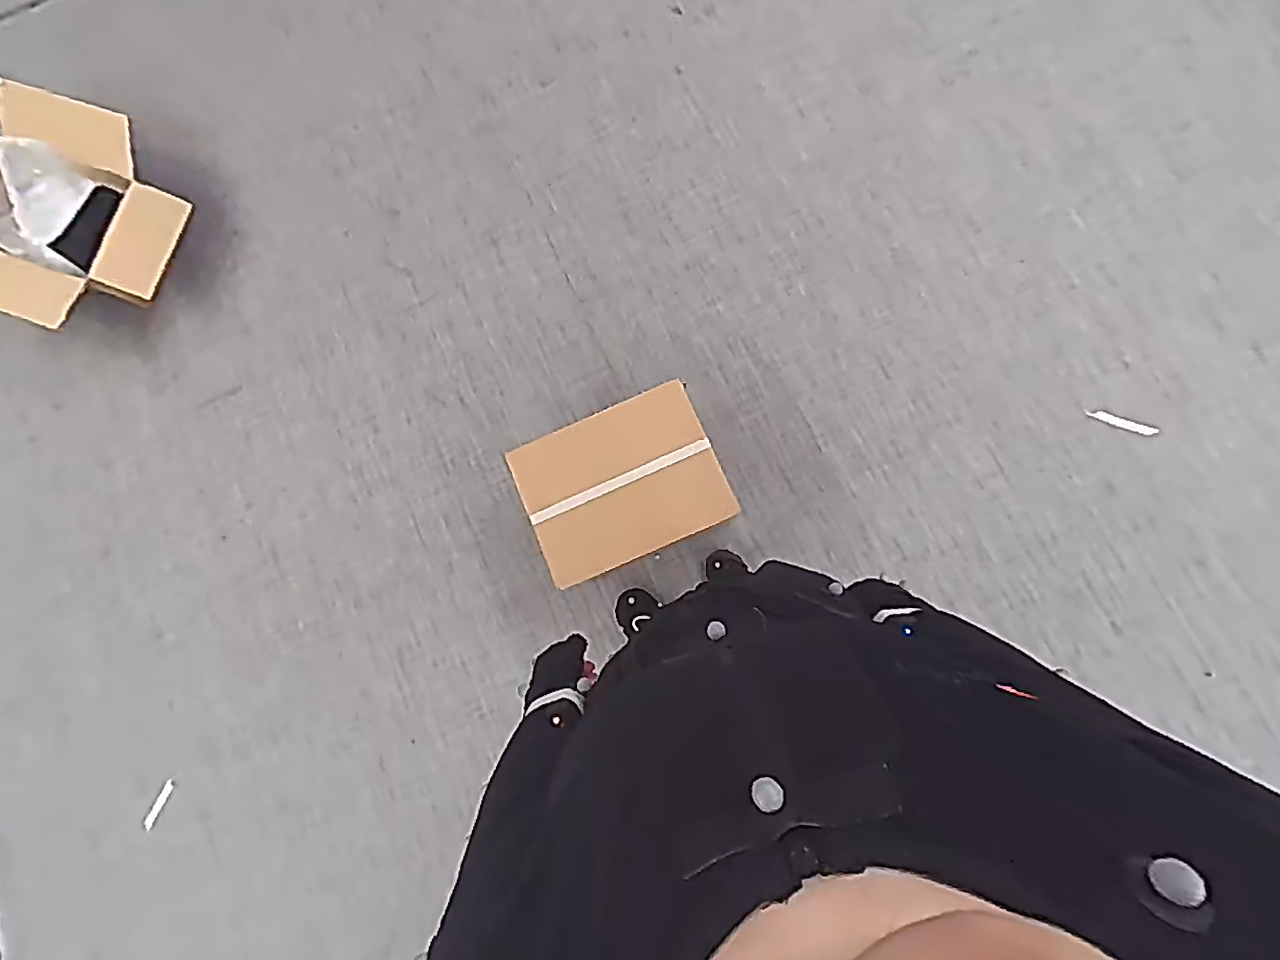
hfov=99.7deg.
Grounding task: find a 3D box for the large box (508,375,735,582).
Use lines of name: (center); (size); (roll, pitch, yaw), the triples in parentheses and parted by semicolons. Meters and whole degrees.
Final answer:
large box: (-0.033, 0.014, 1.271); (0.408, 0.320, 0.320); (-24, 82, 1)
